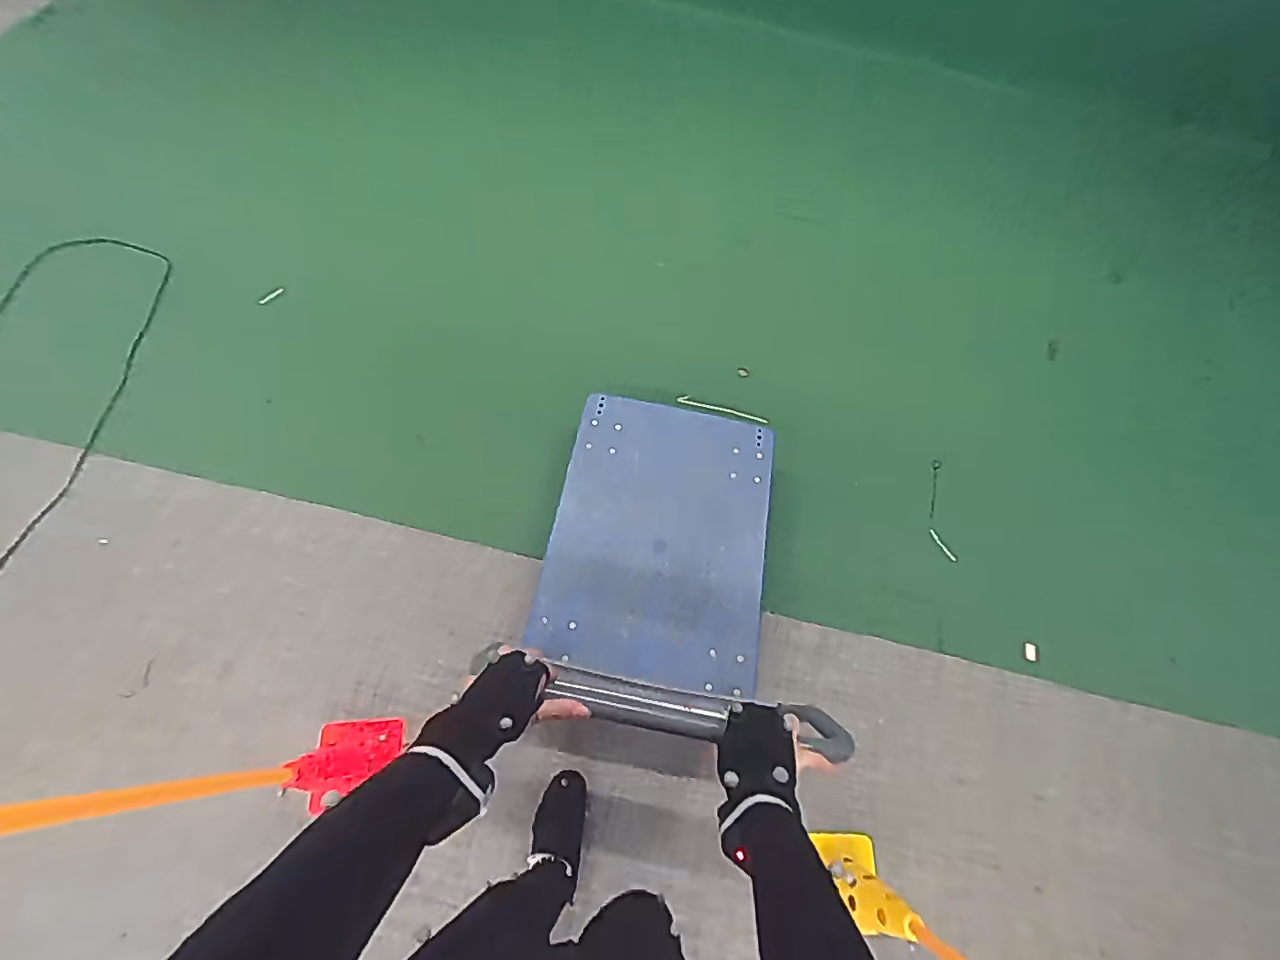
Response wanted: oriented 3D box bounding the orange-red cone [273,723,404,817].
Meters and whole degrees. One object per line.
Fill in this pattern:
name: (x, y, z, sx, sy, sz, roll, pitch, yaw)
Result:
orange-red cone: (-0.672, 0.621, 1.152, 0.199, 0.360, 0.198, 0, 64, -4)
